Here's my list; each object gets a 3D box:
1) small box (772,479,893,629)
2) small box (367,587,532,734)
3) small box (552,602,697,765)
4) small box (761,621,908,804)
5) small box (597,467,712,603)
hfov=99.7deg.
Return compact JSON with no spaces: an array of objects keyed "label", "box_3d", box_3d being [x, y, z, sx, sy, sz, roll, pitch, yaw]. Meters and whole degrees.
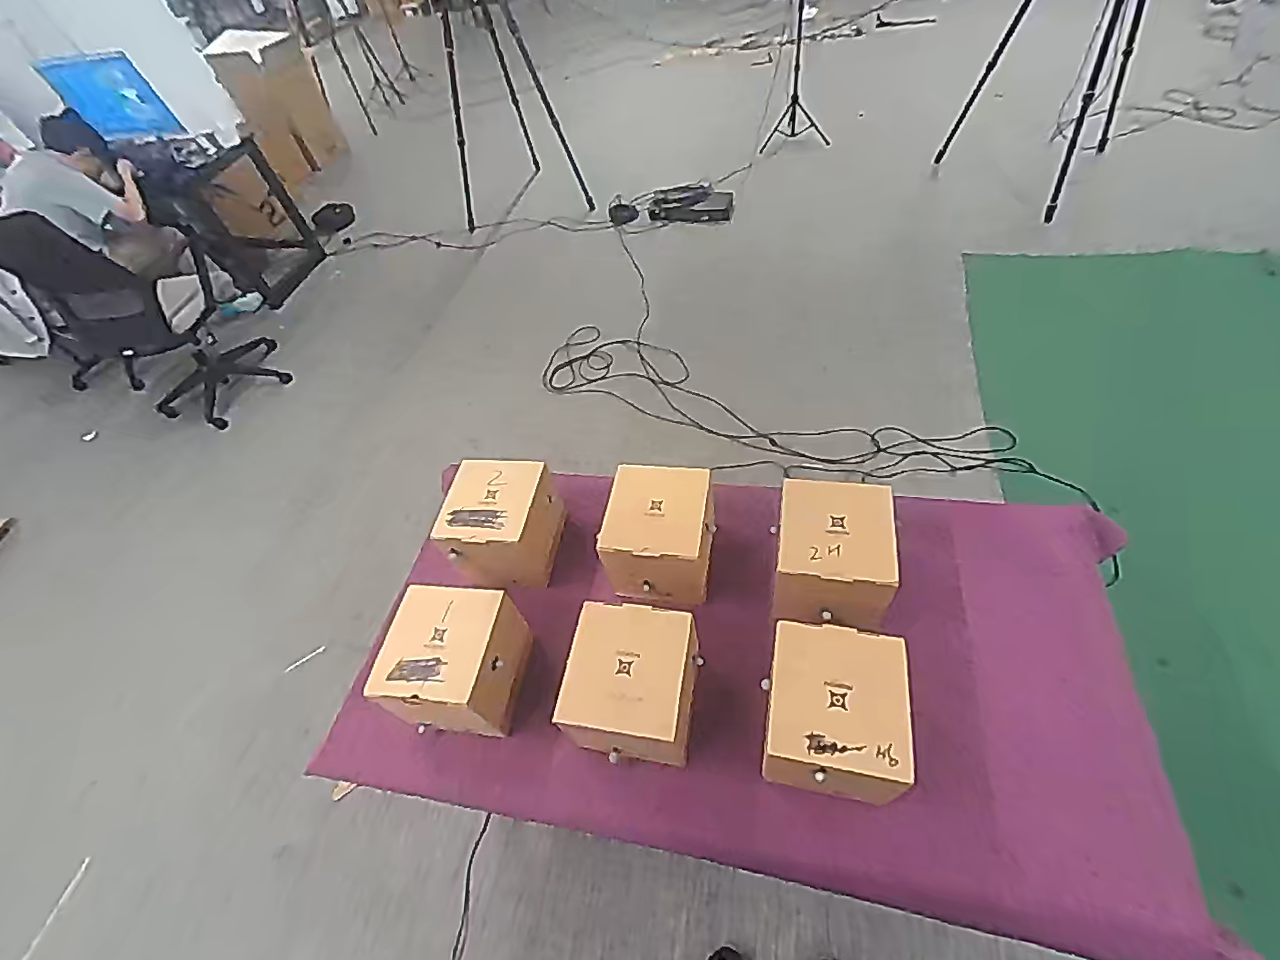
[{"label":"small box","box_3d":[0.306,0.121,0.883,0.168,0.176,0.179,4,55,15]},{"label":"small box","box_3d":[-0.290,0.294,0.872,0.168,0.176,0.179,1,51,12]},{"label":"small box","box_3d":[-0.010,0.305,0.810,0.168,0.176,0.179,3,54,15]},{"label":"small box","box_3d":[0.257,0.319,0.742,0.168,0.176,0.179,4,53,16]},{"label":"small box","box_3d":[0.036,0.098,0.960,0.168,0.176,0.179,3,55,14]}]
